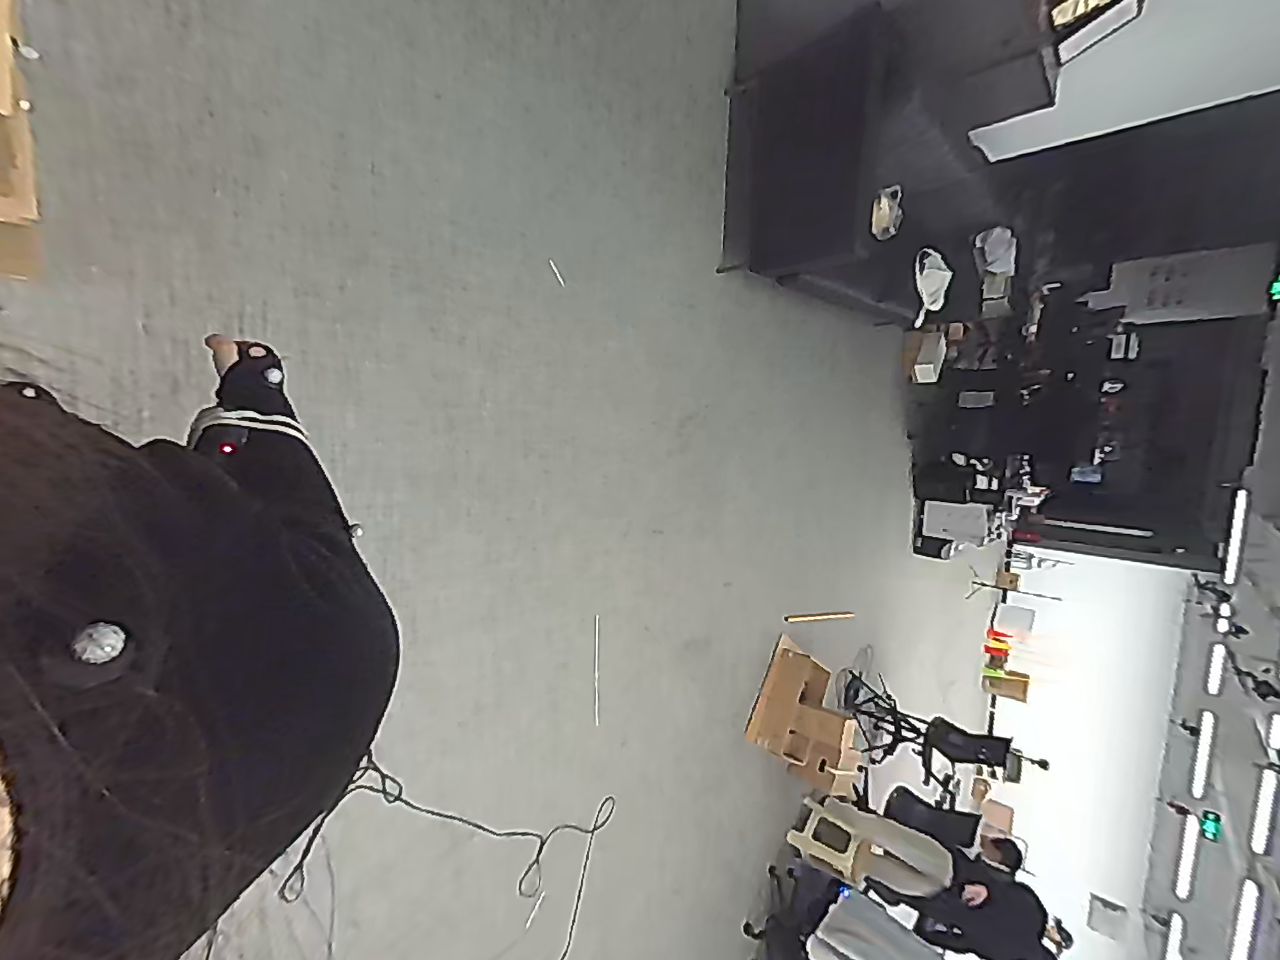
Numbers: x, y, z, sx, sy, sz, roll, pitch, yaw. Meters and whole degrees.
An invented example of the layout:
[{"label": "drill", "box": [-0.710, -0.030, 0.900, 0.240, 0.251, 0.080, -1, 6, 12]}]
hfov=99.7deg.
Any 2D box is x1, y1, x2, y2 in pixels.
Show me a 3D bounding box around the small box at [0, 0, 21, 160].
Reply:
[{"label": "small box", "box": [-0.671, -0.417, 0.472, 0.168, 0.176, 0.179, 0, 96, -47]}]
